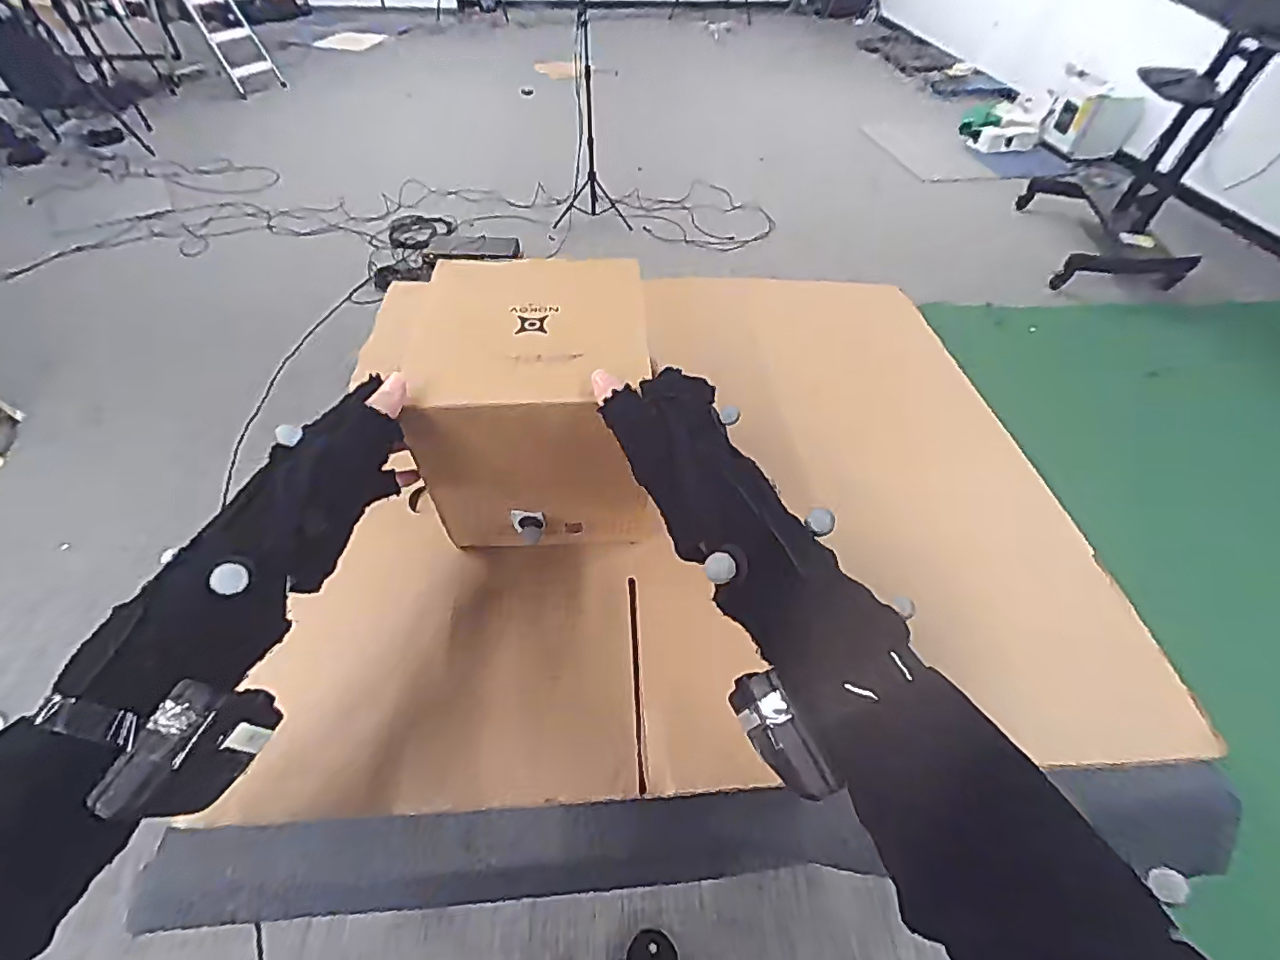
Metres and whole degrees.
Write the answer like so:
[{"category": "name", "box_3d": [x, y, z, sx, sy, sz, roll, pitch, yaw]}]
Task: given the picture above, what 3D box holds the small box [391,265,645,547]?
[{"category": "small box", "box_3d": [-0.084, -0.061, 0.460, 0.168, 0.176, 0.179, -2, 52, -3]}]
